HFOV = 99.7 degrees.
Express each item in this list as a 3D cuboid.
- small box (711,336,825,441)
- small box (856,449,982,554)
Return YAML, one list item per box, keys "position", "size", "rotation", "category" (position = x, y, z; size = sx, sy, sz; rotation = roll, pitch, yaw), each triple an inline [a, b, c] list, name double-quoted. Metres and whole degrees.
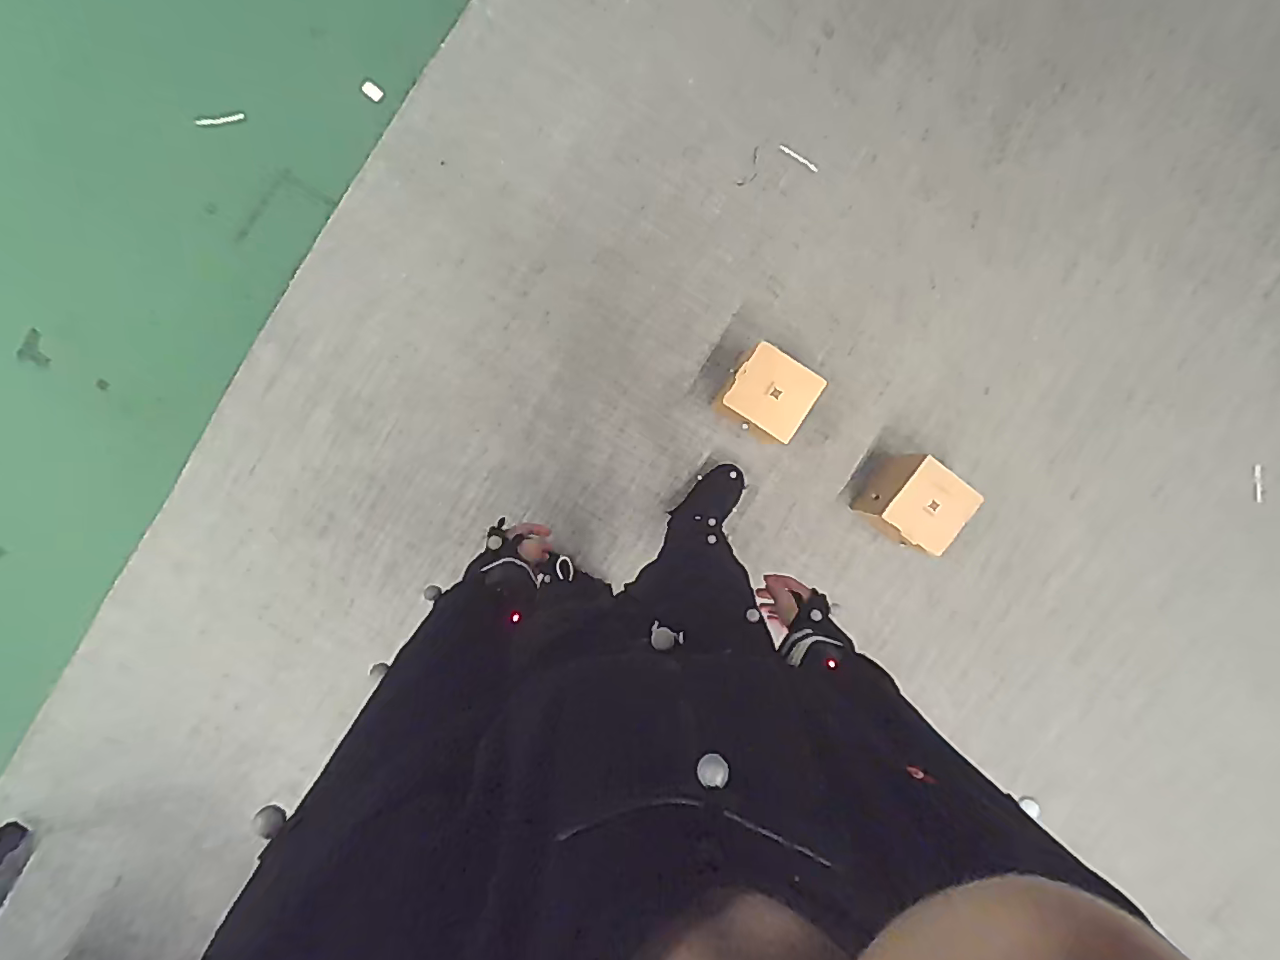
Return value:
- position: [0.286, -0.205, 1.247]
  size: [0.179, 0.176, 0.168]
  rotation: [32, 92, -2]
  category: "small box"
- position: [0.636, 0.045, 1.265]
  size: [0.168, 0.176, 0.179]
  rotation: [36, 91, -4]
  category: "small box"
